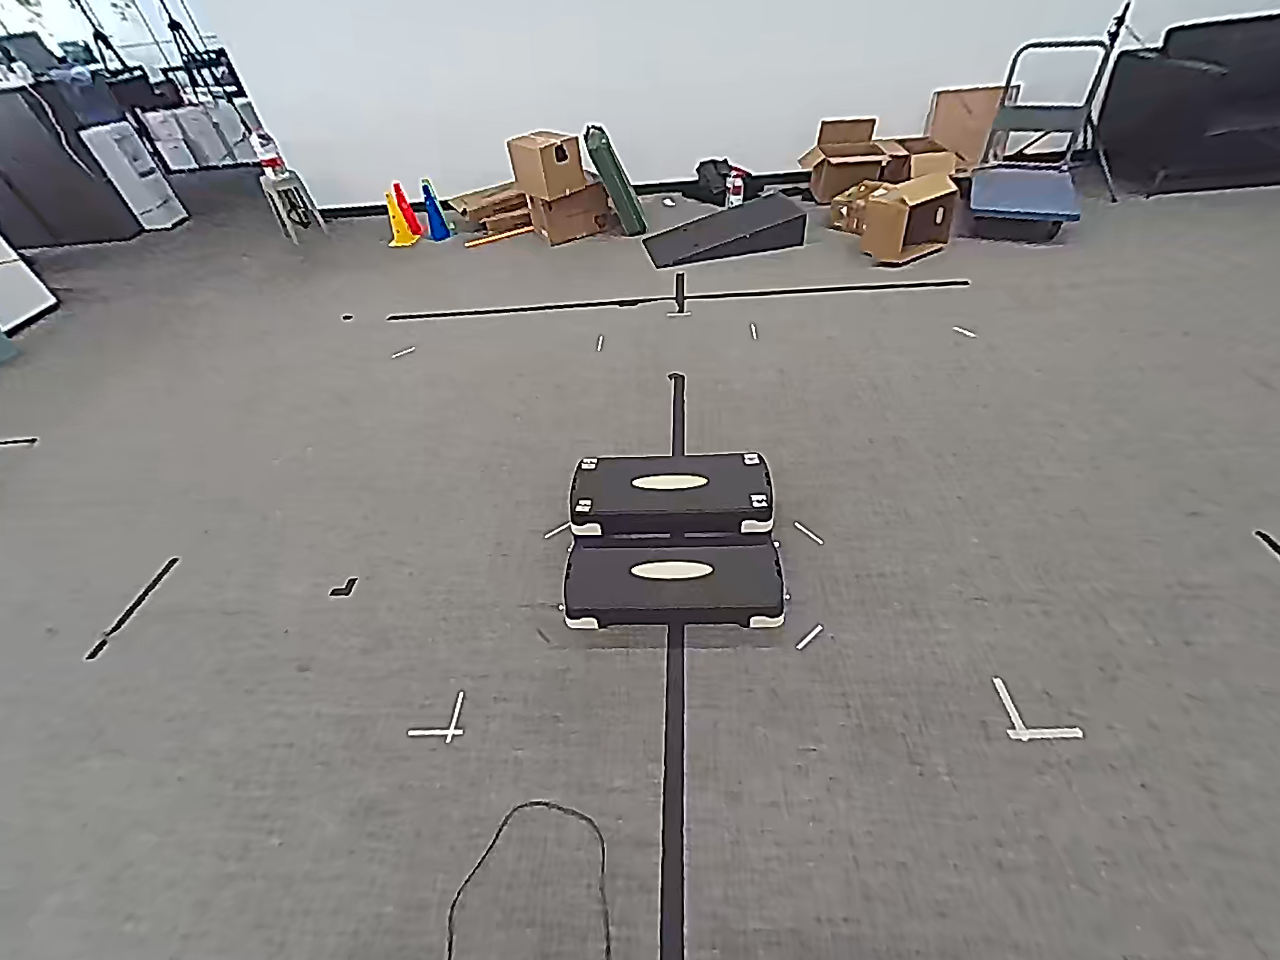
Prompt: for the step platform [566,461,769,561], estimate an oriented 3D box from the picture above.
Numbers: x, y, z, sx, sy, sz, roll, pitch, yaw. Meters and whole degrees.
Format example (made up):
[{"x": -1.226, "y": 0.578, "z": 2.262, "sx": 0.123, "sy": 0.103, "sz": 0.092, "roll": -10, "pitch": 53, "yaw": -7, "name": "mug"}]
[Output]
[{"x": 0.089, "y": 0.101, "z": 1.845, "sx": 0.684, "sy": 0.204, "sz": 0.286, "roll": -2, "pitch": 45, "yaw": 4, "name": "step platform"}]
